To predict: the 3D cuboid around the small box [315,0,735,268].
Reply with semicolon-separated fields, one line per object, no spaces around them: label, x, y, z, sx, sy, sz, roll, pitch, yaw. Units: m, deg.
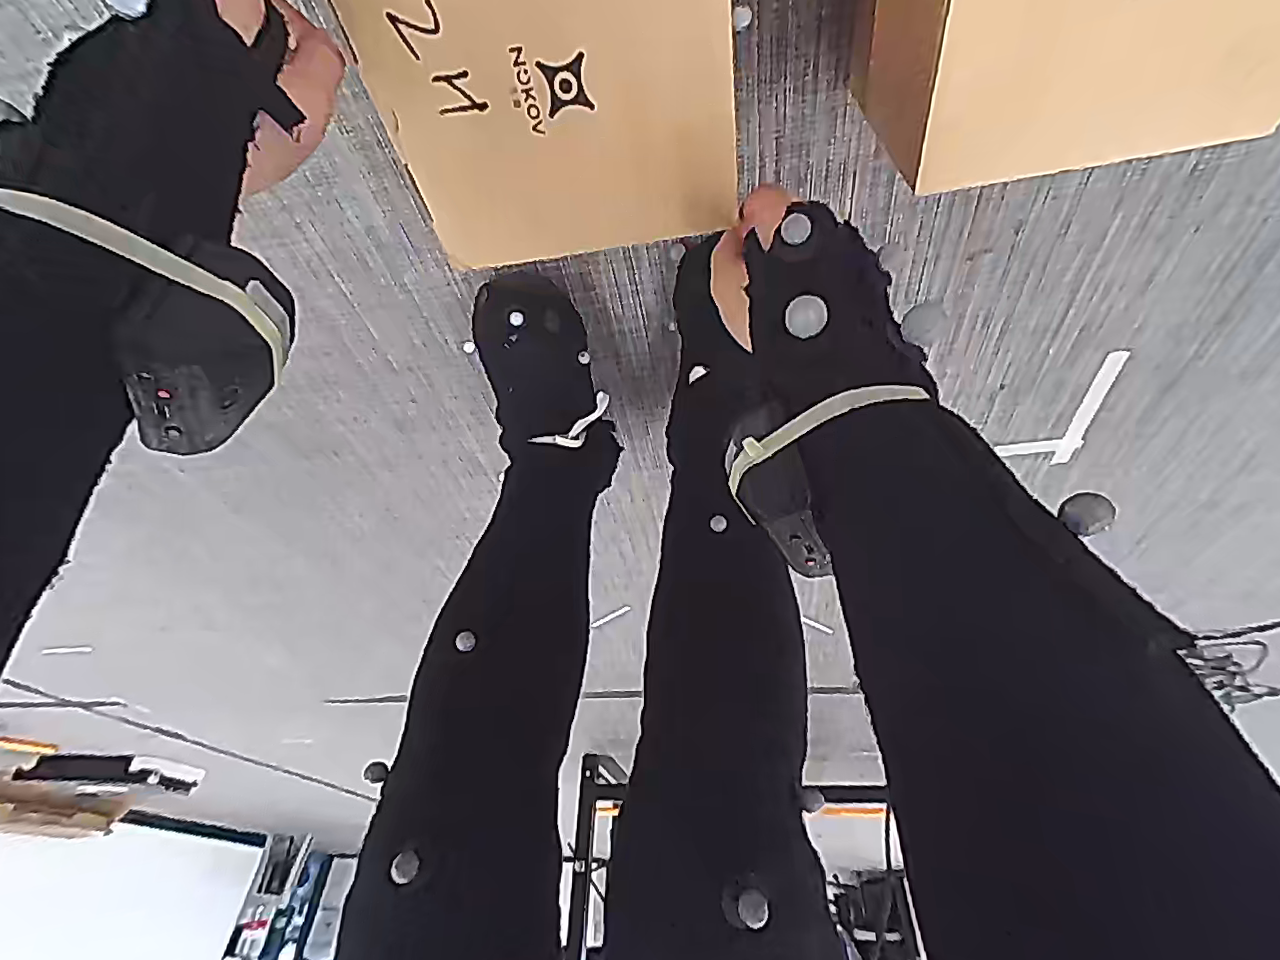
small box;-0.045;-0.248;0.301;0.179;0.176;0.168;-5;140;8
